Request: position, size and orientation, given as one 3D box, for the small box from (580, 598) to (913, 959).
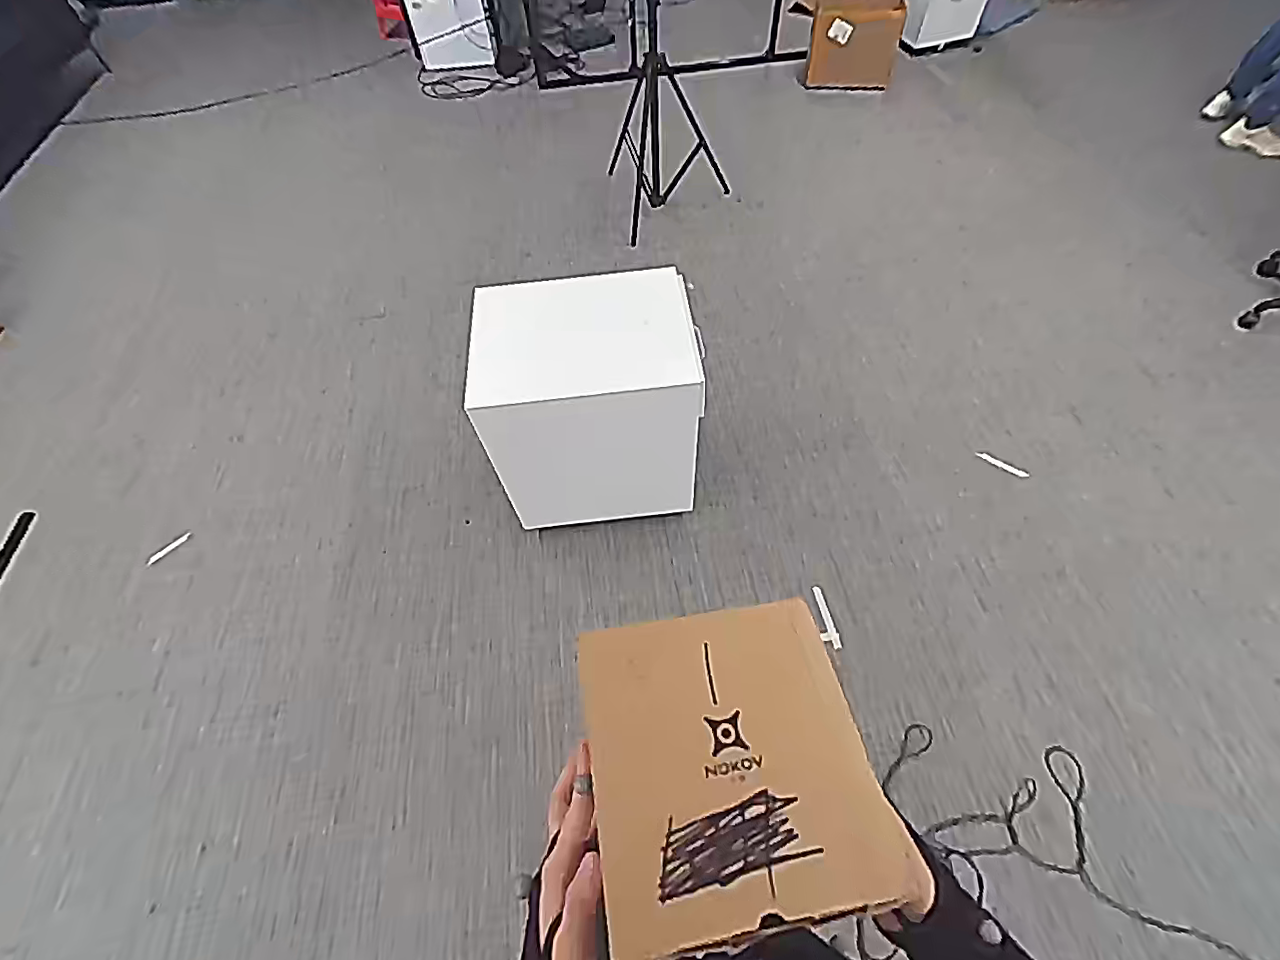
[{"bbox_3d":[0.052,0.210,0.390,0.168,0.176,0.179,-7,52,-8],"label":"small box"}]
